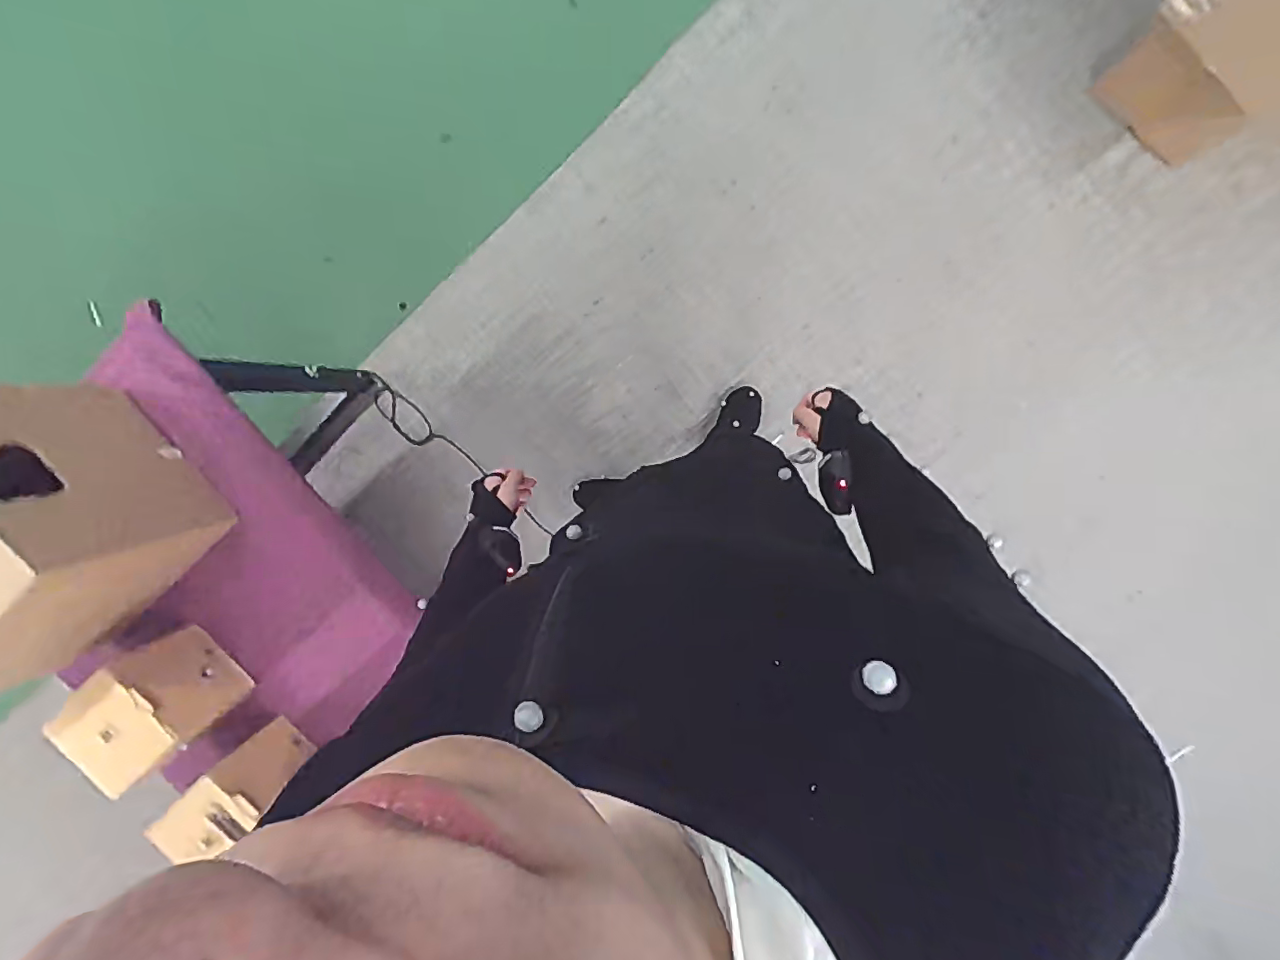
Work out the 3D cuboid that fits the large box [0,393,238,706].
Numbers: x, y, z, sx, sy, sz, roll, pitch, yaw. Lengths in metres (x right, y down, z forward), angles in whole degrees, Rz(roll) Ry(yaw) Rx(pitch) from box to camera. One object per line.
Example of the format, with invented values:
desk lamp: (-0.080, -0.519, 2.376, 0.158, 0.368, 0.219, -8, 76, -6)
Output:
large box: (-0.961, 0.113, 0.834, 0.408, 0.320, 0.320, -41, 95, 9)
